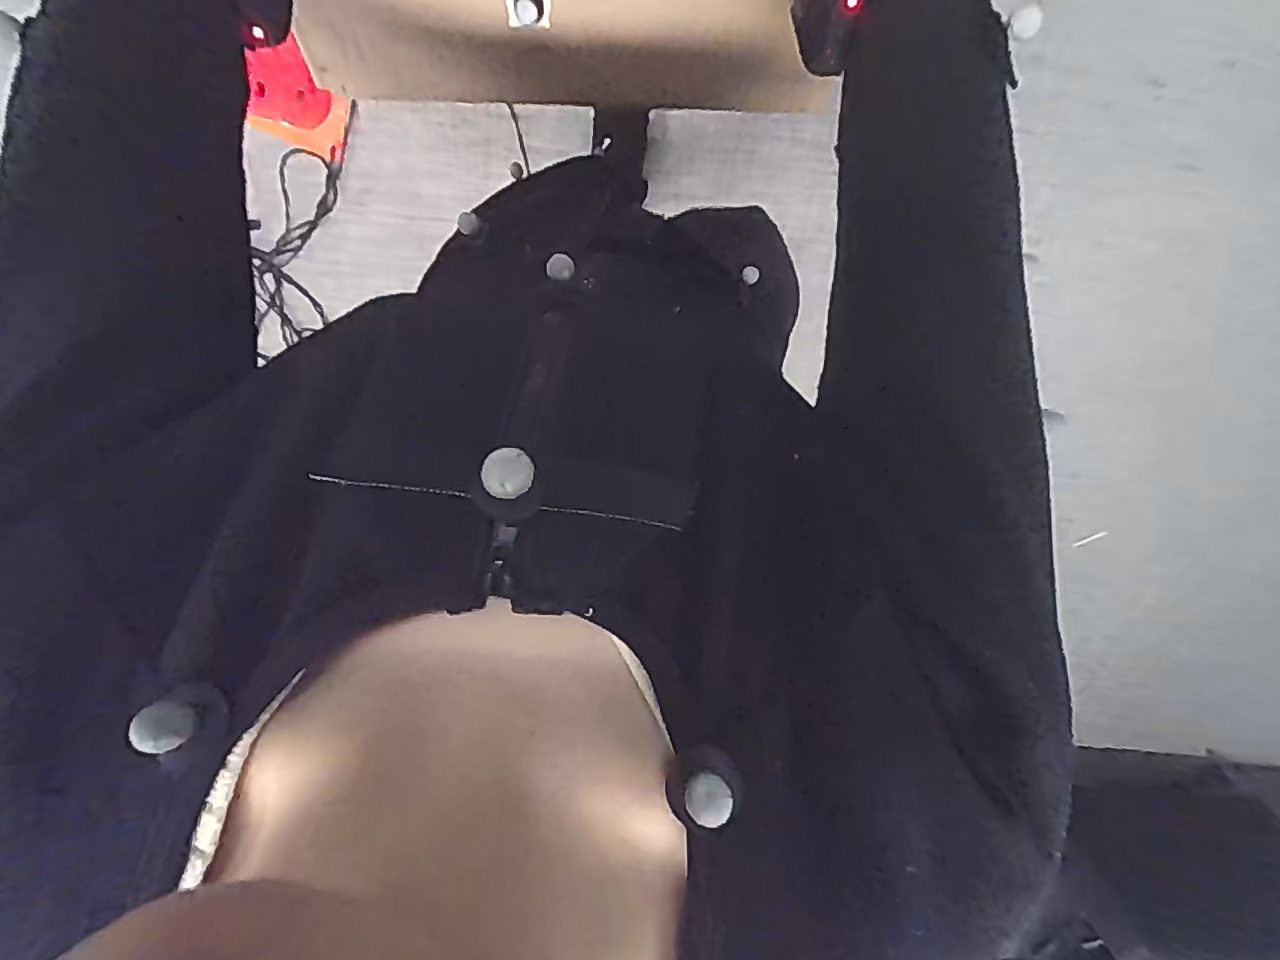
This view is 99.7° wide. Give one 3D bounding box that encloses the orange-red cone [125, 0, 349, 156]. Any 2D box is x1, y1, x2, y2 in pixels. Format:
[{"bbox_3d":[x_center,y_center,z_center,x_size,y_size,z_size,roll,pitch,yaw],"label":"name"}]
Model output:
[{"bbox_3d":[-0.670,-0.665,0.876,0.199,0.360,0.198,23,119,-11],"label":"orange-red cone"}]
